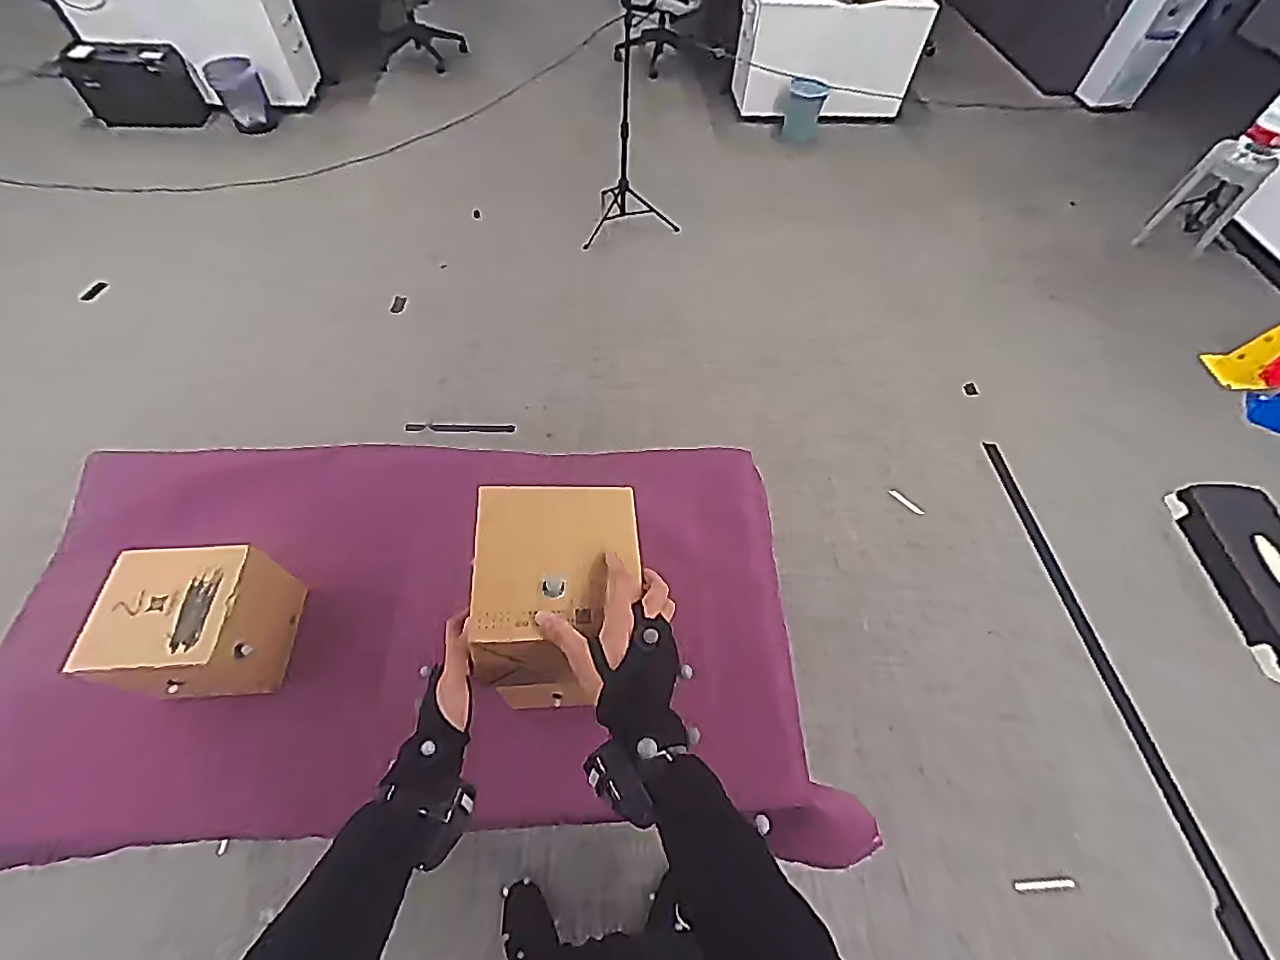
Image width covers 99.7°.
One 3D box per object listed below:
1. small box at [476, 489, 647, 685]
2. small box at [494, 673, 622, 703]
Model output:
[{"bbox_3d":[-0.091,0.126,0.611,0.168,0.179,0.176,0,58,-11],"label":"small box"},{"bbox_3d":[-0.110,0.226,0.798,0.168,0.176,0.179,-1,57,-4],"label":"small box"}]
